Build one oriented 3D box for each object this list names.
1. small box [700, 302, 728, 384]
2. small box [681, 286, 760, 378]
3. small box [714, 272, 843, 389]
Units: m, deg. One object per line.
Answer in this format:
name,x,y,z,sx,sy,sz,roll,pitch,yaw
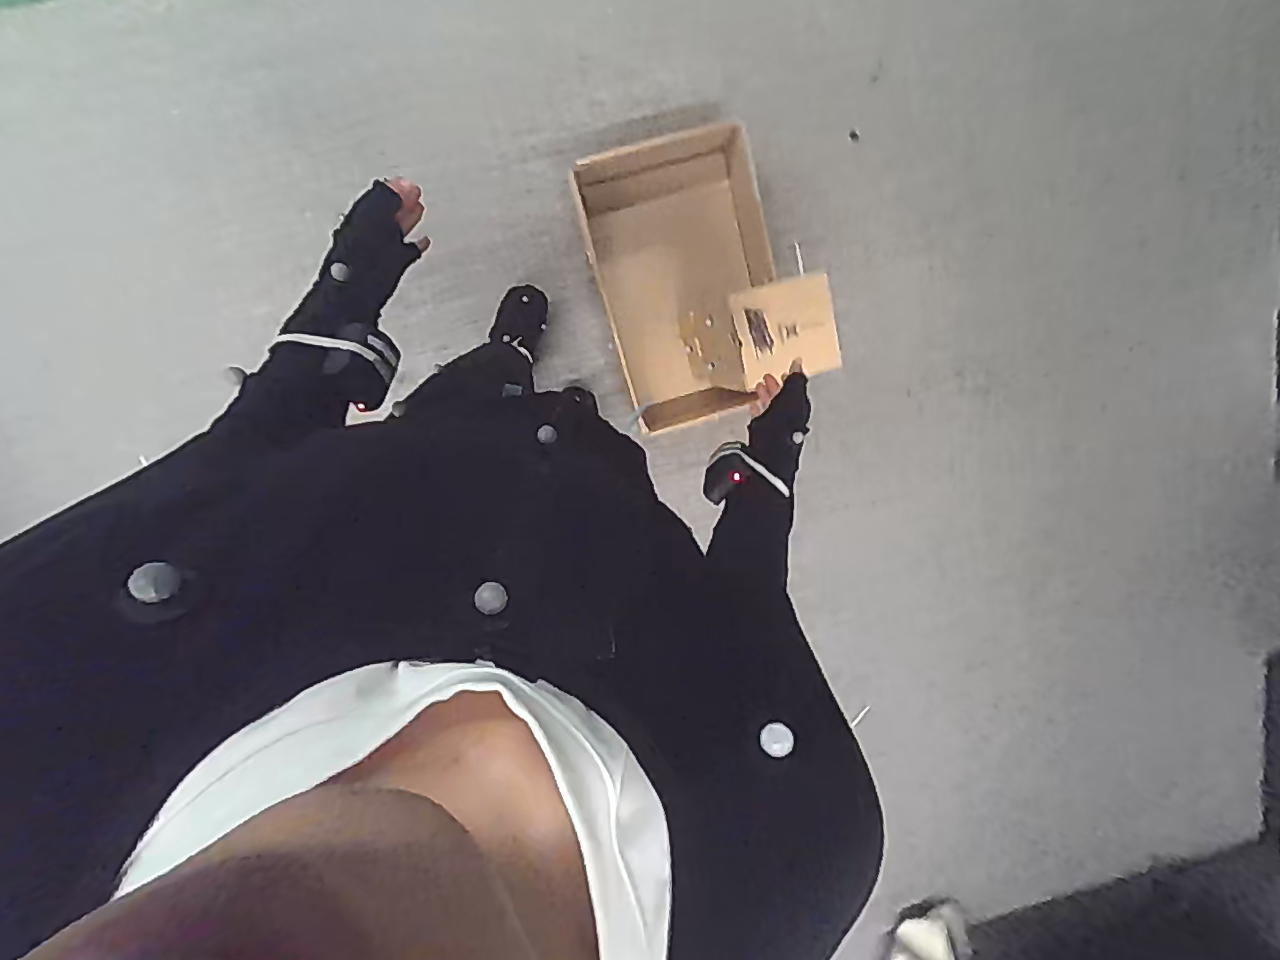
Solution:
small box,0.234,-0.300,1.139,0.179,0.176,0.168,-16,103,-3
small box,0.208,-0.350,1.312,0.179,0.176,0.168,-20,102,-3
small box,0.243,-0.268,0.995,0.179,0.176,0.168,-15,104,-3
